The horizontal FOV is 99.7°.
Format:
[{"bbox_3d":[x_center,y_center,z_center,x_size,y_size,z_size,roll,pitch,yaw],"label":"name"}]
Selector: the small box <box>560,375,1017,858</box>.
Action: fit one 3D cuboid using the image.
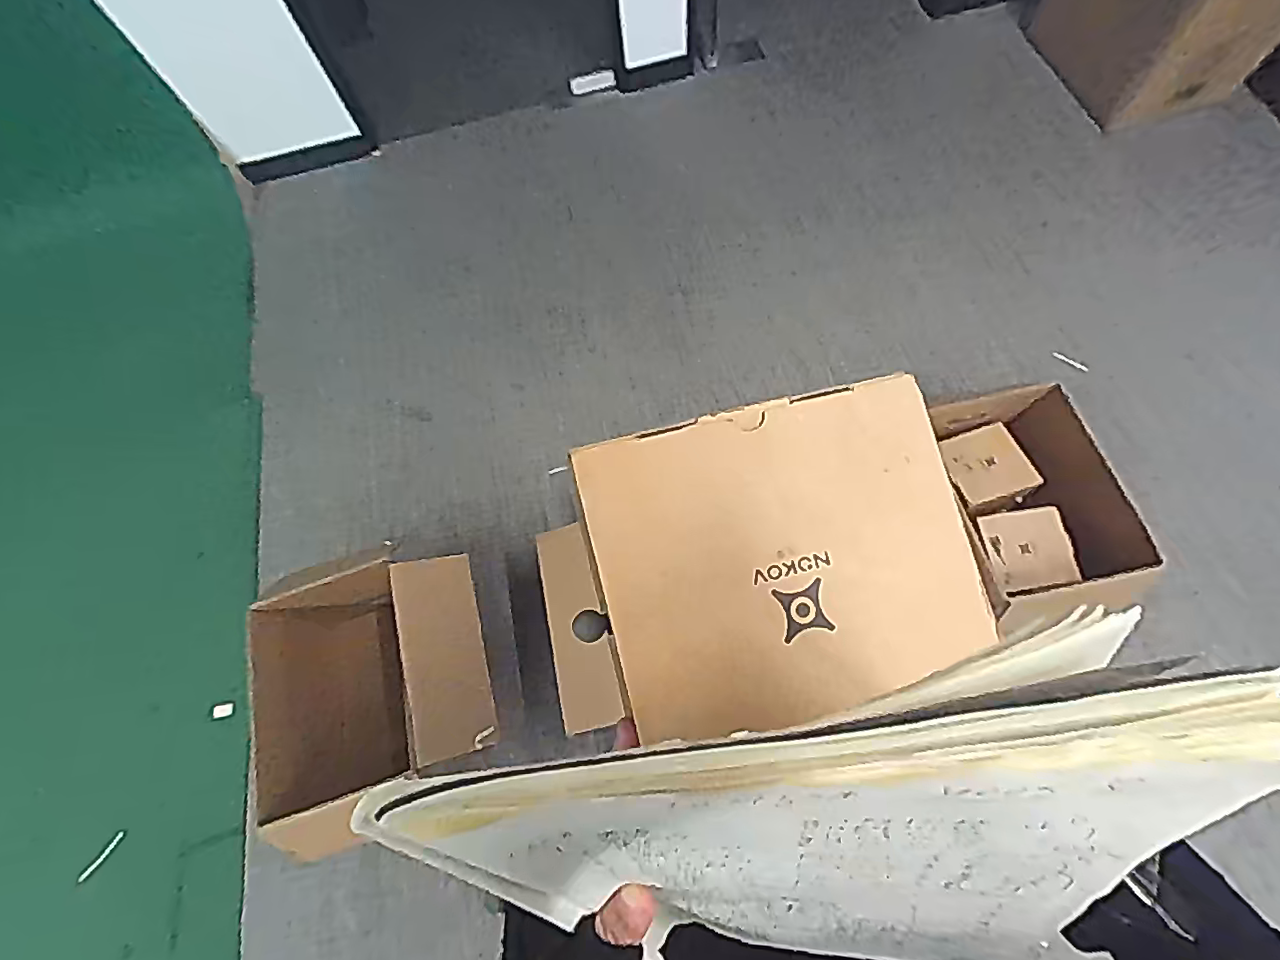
[{"bbox_3d":[0.058,0.063,0.313,0.168,0.176,0.179,-14,82,-7],"label":"small box"}]
